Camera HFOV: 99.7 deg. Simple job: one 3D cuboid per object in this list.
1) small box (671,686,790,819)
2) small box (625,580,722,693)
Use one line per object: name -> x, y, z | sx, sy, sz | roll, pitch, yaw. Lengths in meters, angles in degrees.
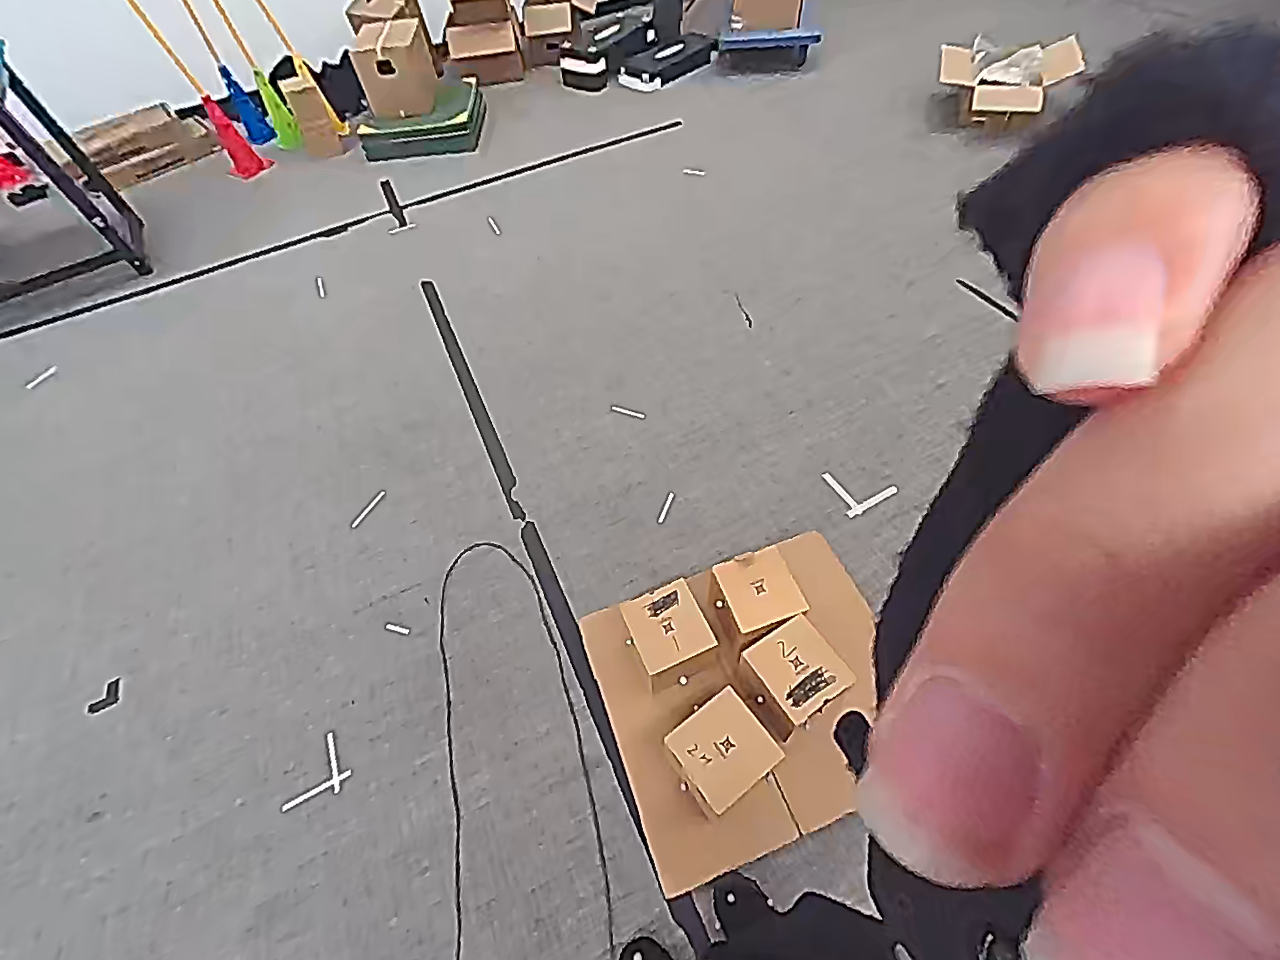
small box -> 0.178, 0.564, 1.116 | 0.179, 0.176, 0.168 | -32, 57, -17
small box -> 0.076, 0.369, 1.266 | 0.168, 0.176, 0.179 | -22, 56, -11
